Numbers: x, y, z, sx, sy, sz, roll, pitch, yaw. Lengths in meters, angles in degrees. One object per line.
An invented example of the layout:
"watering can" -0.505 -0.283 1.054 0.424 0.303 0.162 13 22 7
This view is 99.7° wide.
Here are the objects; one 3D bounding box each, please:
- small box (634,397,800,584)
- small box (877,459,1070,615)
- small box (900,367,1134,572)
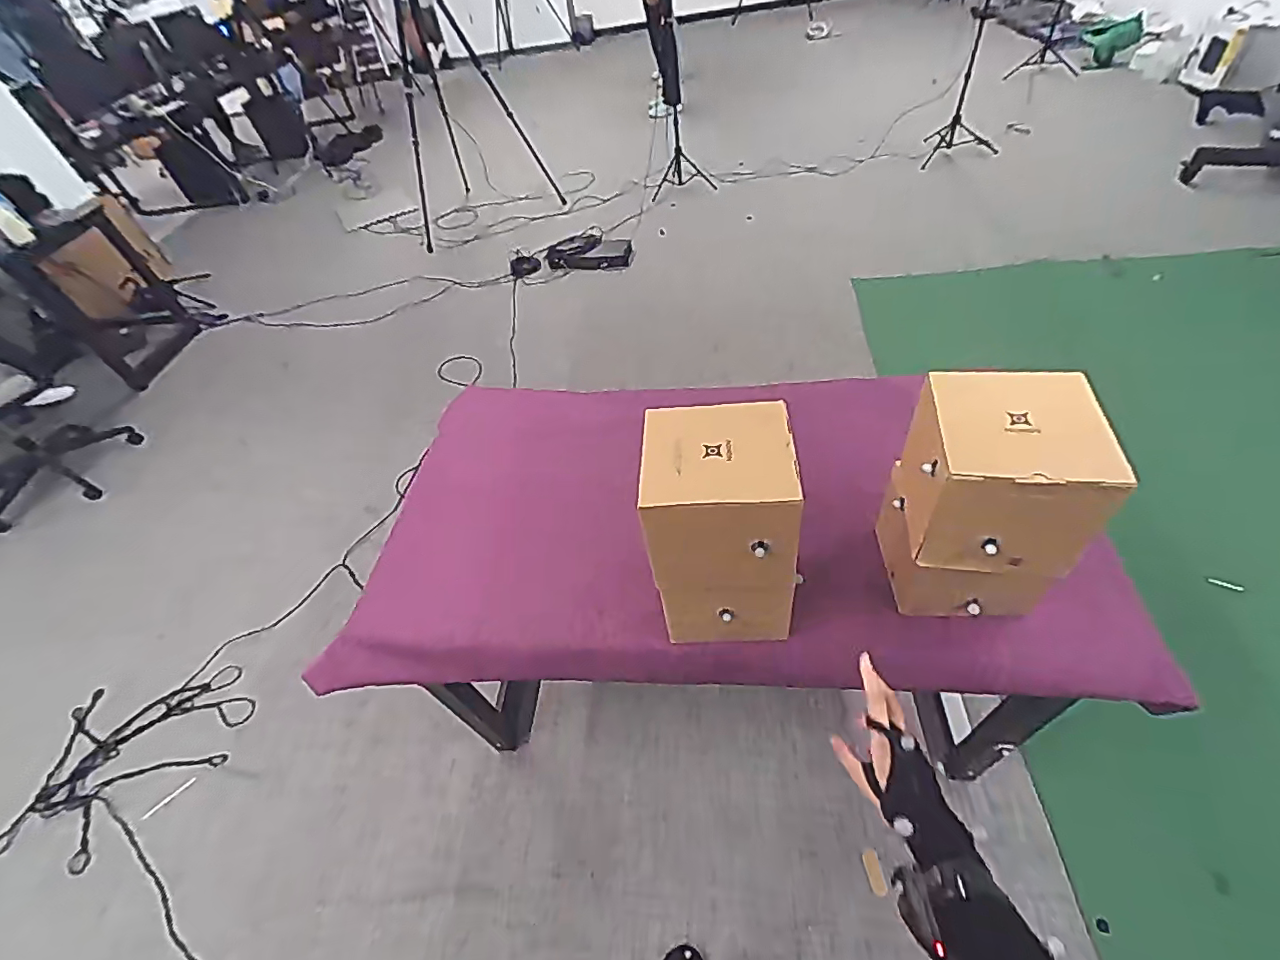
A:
"small box" 0.096 0.017 0.676 0.179 0.176 0.168 -3 46 9
"small box" 0.459 0.081 0.775 0.179 0.176 0.168 -3 46 9
"small box" 0.421 -0.015 0.645 0.168 0.176 0.179 3 49 14
